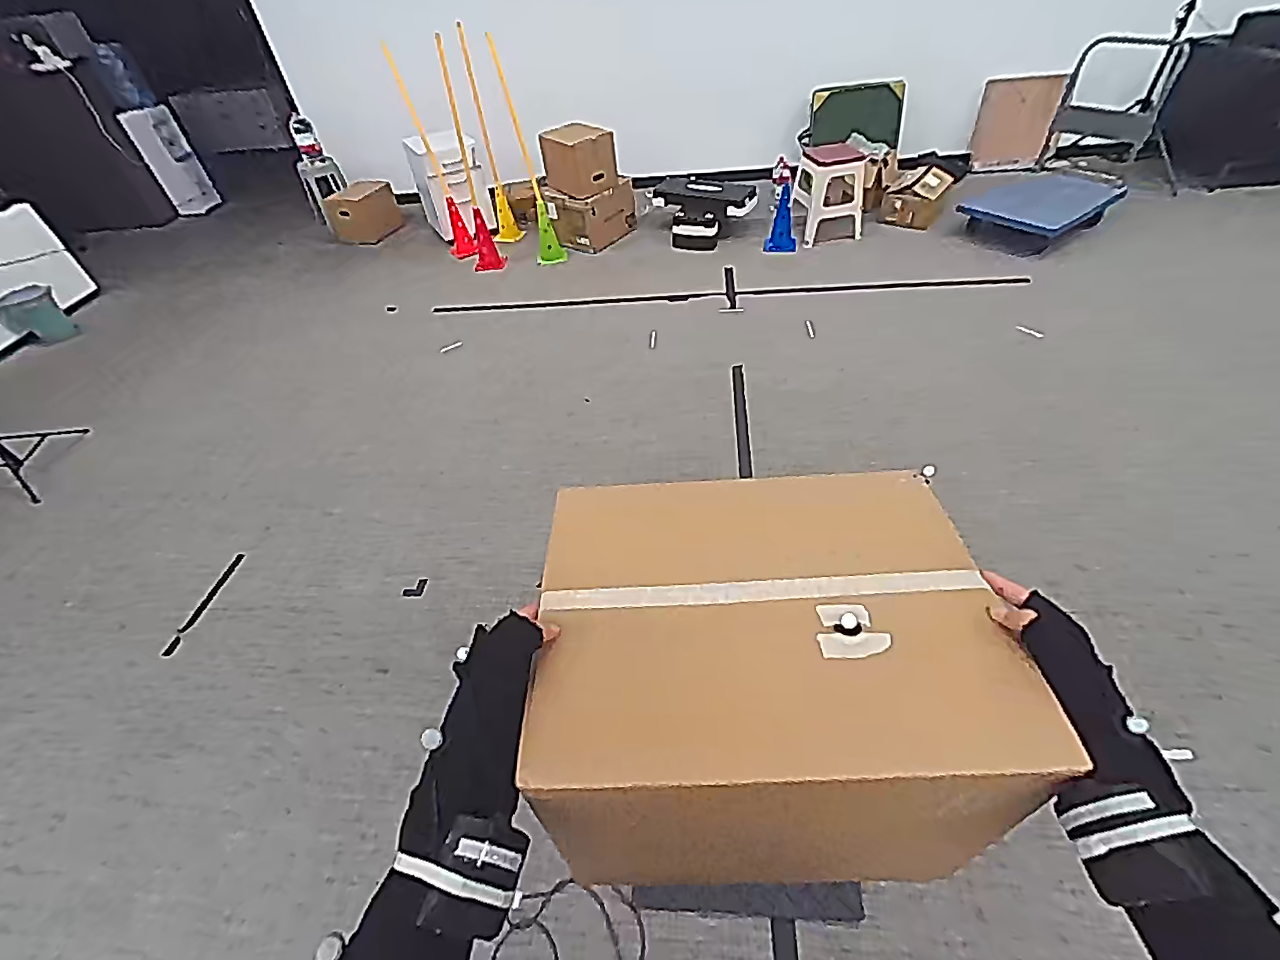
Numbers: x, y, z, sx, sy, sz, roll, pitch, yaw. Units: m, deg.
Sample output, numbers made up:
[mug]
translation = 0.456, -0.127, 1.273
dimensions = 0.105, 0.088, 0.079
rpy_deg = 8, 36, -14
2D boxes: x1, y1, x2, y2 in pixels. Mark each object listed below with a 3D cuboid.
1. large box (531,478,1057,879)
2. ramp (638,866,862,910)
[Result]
[large box]
translation = 0.118, 0.222, 0.611
dimensions = 0.408, 0.320, 0.320
rpy_deg = -3, 43, 2
[ramp]
translation = 0.254, 0.509, 1.447
dimensions = 0.509, 0.206, 0.991
rpy_deg = -2, 46, 4
